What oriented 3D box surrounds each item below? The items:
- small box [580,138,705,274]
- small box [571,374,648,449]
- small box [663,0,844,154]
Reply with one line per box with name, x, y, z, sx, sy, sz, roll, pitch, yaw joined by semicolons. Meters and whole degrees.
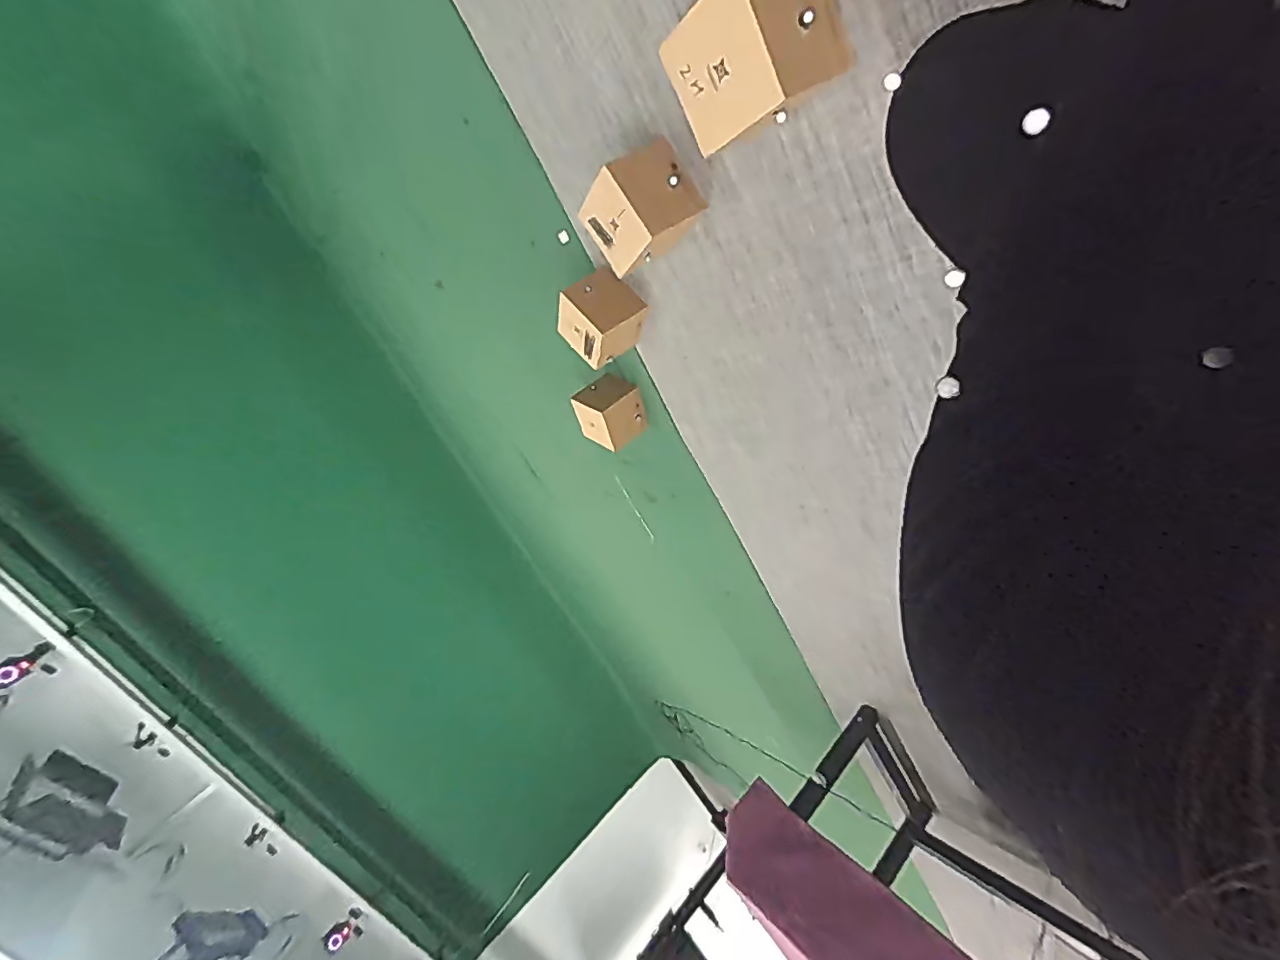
small box;0.006;-0.579;1.151;0.168;0.176;0.179;55;155;-8
small box;-0.100;-0.237;1.830;0.179;0.176;0.168;30;148;40
small box;0.172;-0.624;0.793;0.179;0.176;0.168;6;129;58
